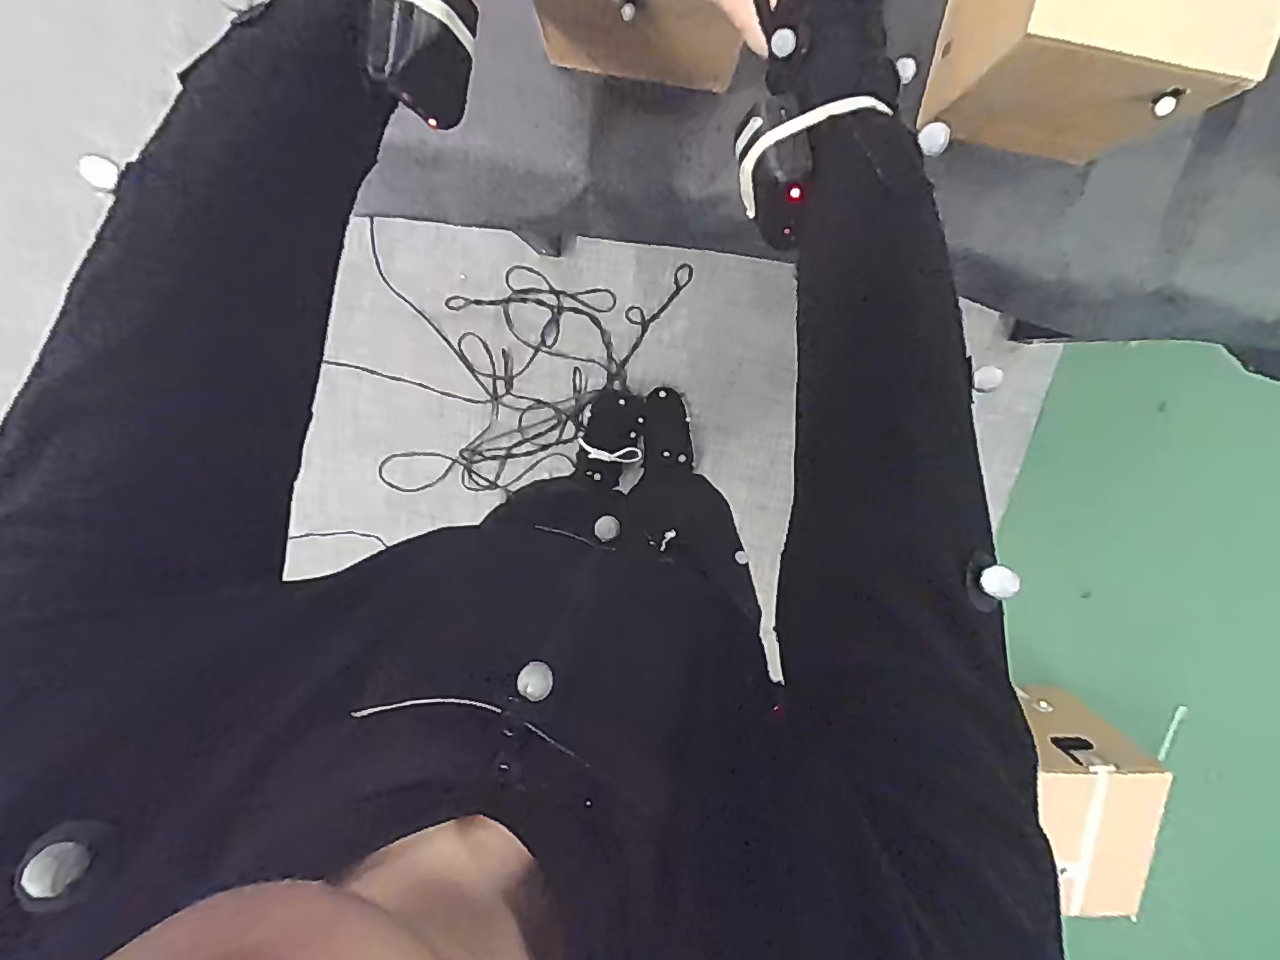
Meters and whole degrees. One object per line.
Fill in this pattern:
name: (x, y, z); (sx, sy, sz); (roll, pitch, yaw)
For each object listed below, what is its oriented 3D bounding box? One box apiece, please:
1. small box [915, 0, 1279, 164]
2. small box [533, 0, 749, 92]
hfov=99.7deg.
small box: (0.359, -0.383, 0.438); (0.179, 0.176, 0.168); (10, 102, -2)
small box: (0.007, -0.443, 0.426); (0.179, 0.176, 0.168); (8, 104, -3)
